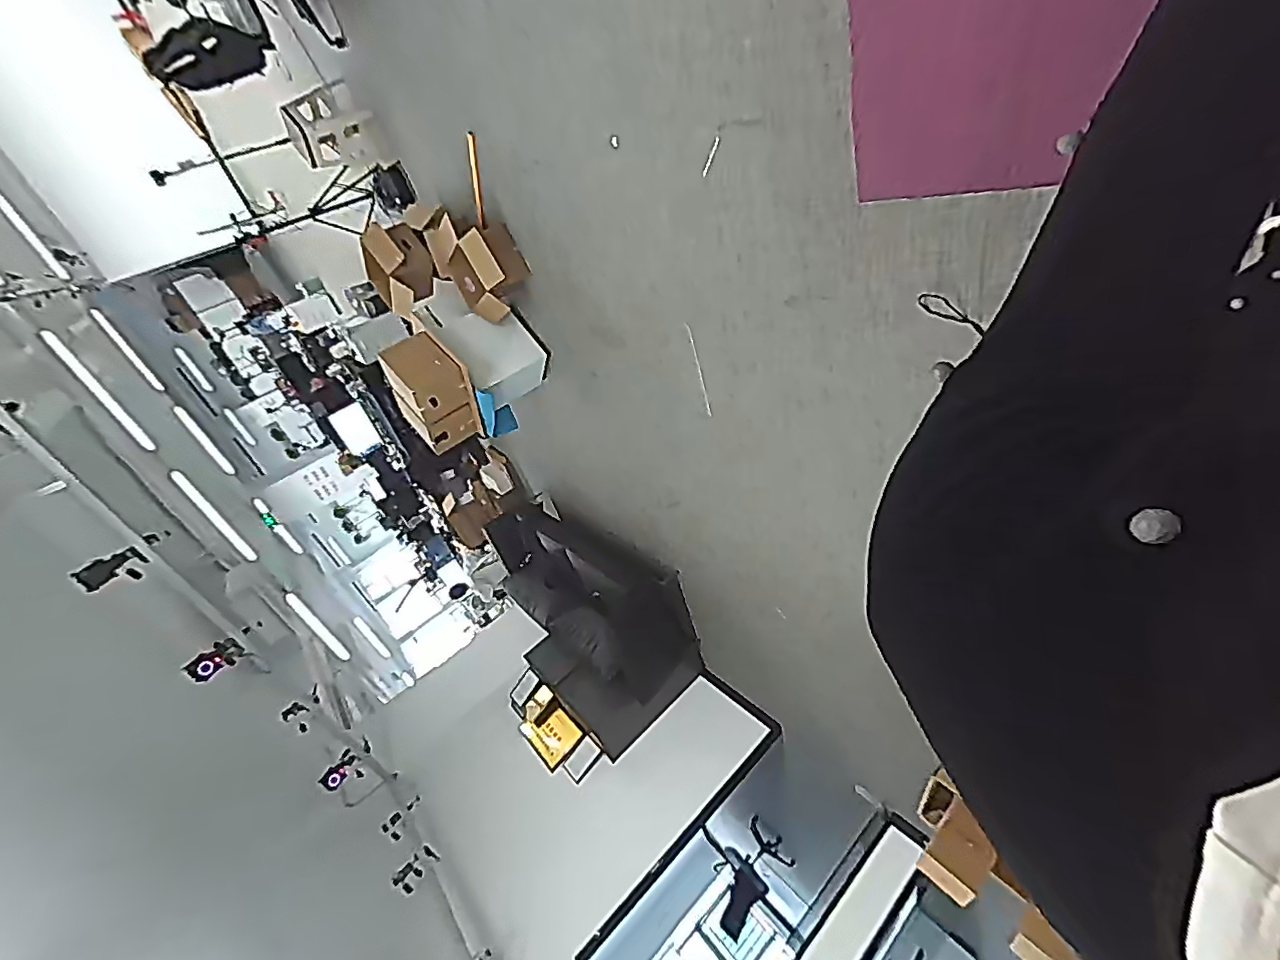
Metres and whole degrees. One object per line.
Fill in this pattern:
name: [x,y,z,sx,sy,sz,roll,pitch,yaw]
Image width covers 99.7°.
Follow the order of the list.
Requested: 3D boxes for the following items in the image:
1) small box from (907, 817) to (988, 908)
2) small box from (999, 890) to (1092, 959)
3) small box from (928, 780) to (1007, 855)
small box: [1.042,1.294,1.833,0.168,0.176,0.179,32,147,37]
small box: [1.236,1.410,1.648,0.168,0.176,0.179,27,144,42]
small box: [1.157,1.206,1.908,0.168,0.176,0.179,32,147,36]
